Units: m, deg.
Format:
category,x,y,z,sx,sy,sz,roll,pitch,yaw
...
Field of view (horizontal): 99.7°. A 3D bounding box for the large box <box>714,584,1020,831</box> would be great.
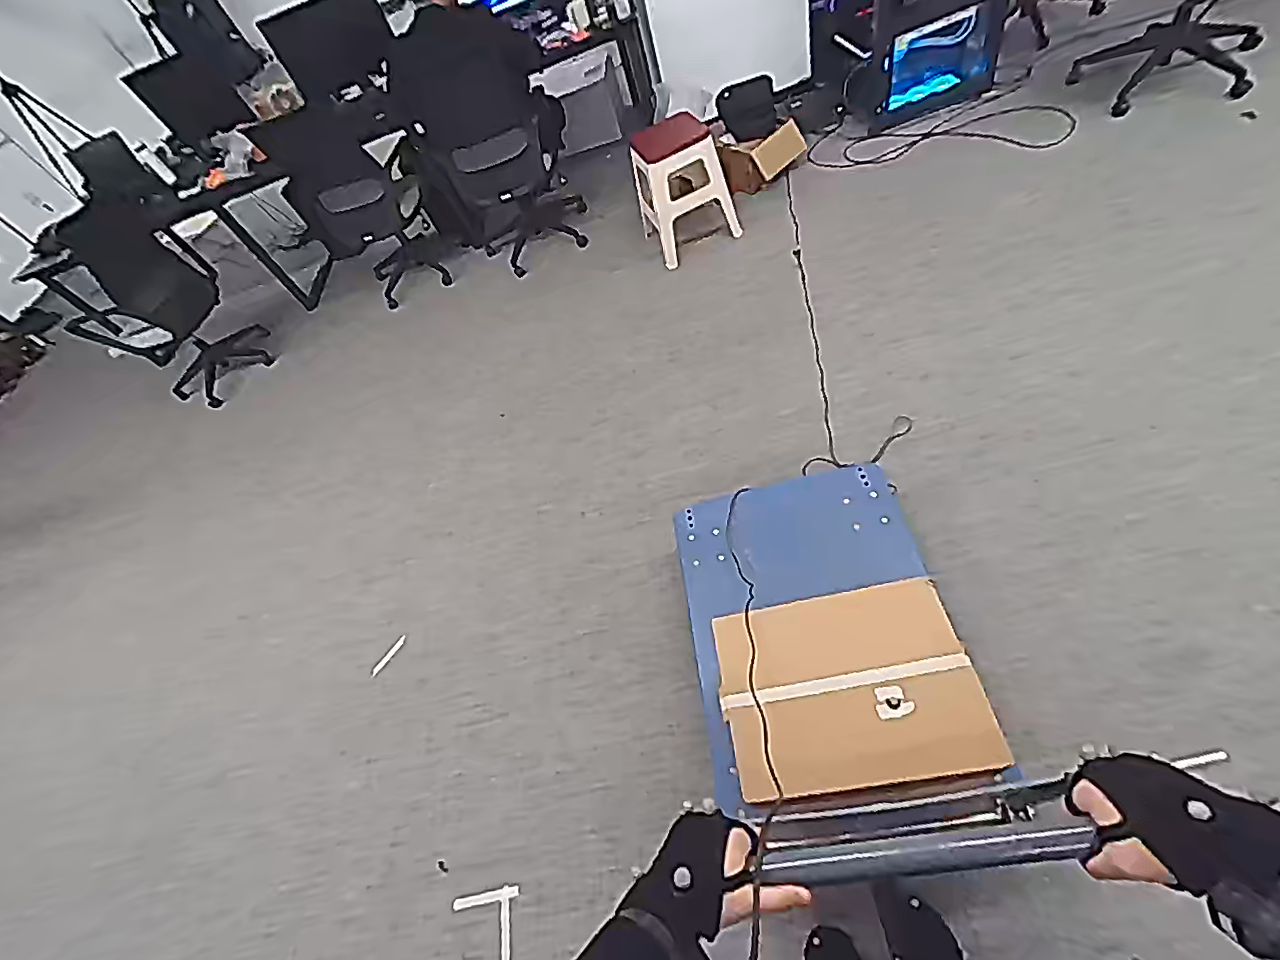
category,x,y,z,sx,sy,sz,roll,pitch,yaw
large box,0.381,0.436,1.009,0.408,0.320,0.320,-14,53,9
